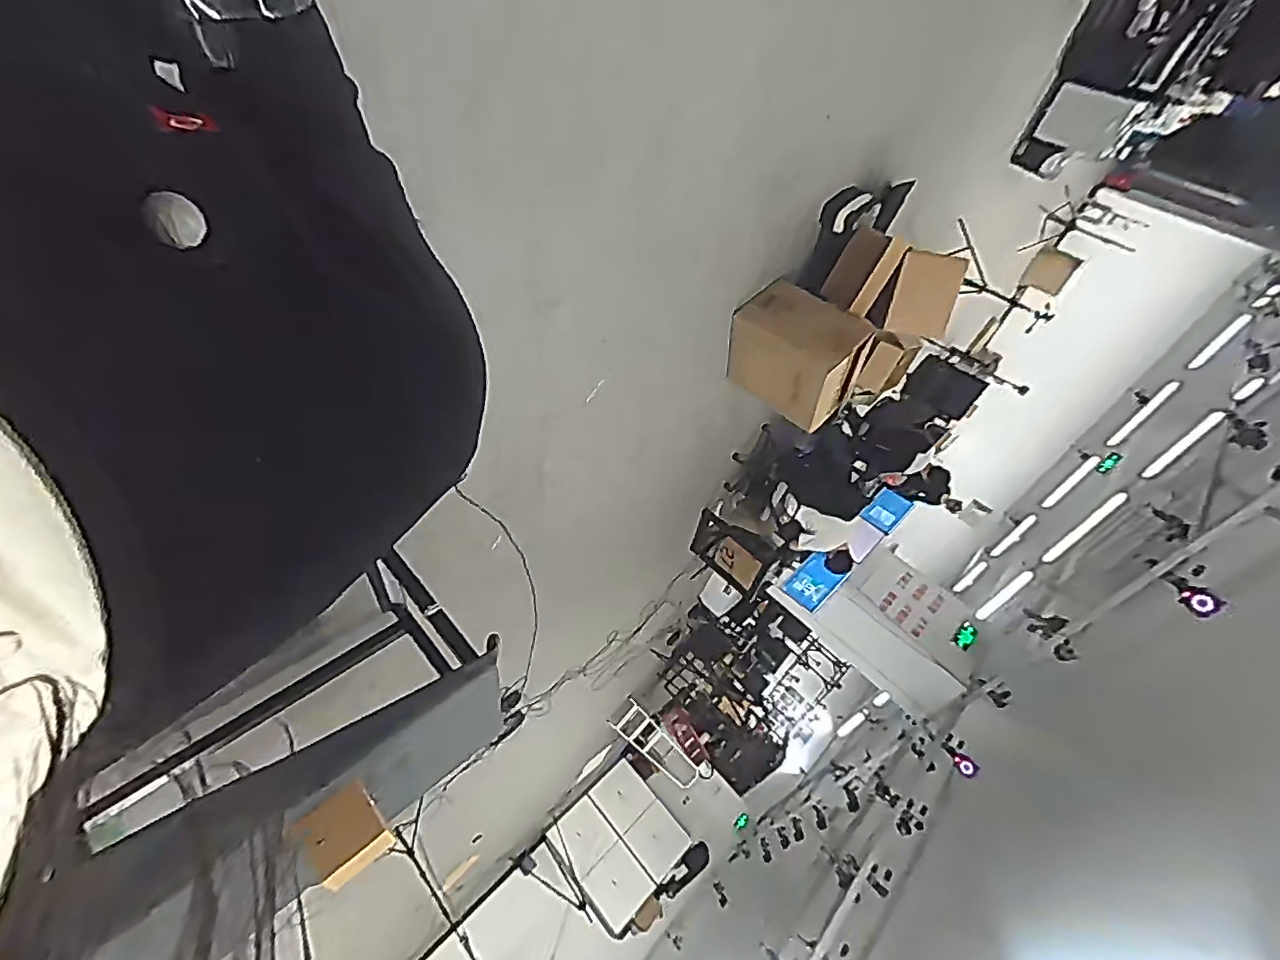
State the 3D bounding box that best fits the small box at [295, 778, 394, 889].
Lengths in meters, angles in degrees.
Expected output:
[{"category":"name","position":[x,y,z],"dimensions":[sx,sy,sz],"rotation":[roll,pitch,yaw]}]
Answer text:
[{"category":"small box","position":[-0.805,0.958,1.470],"dimensions":[0.179,0.176,0.168],"rotation":[-33,152,-34]}]
